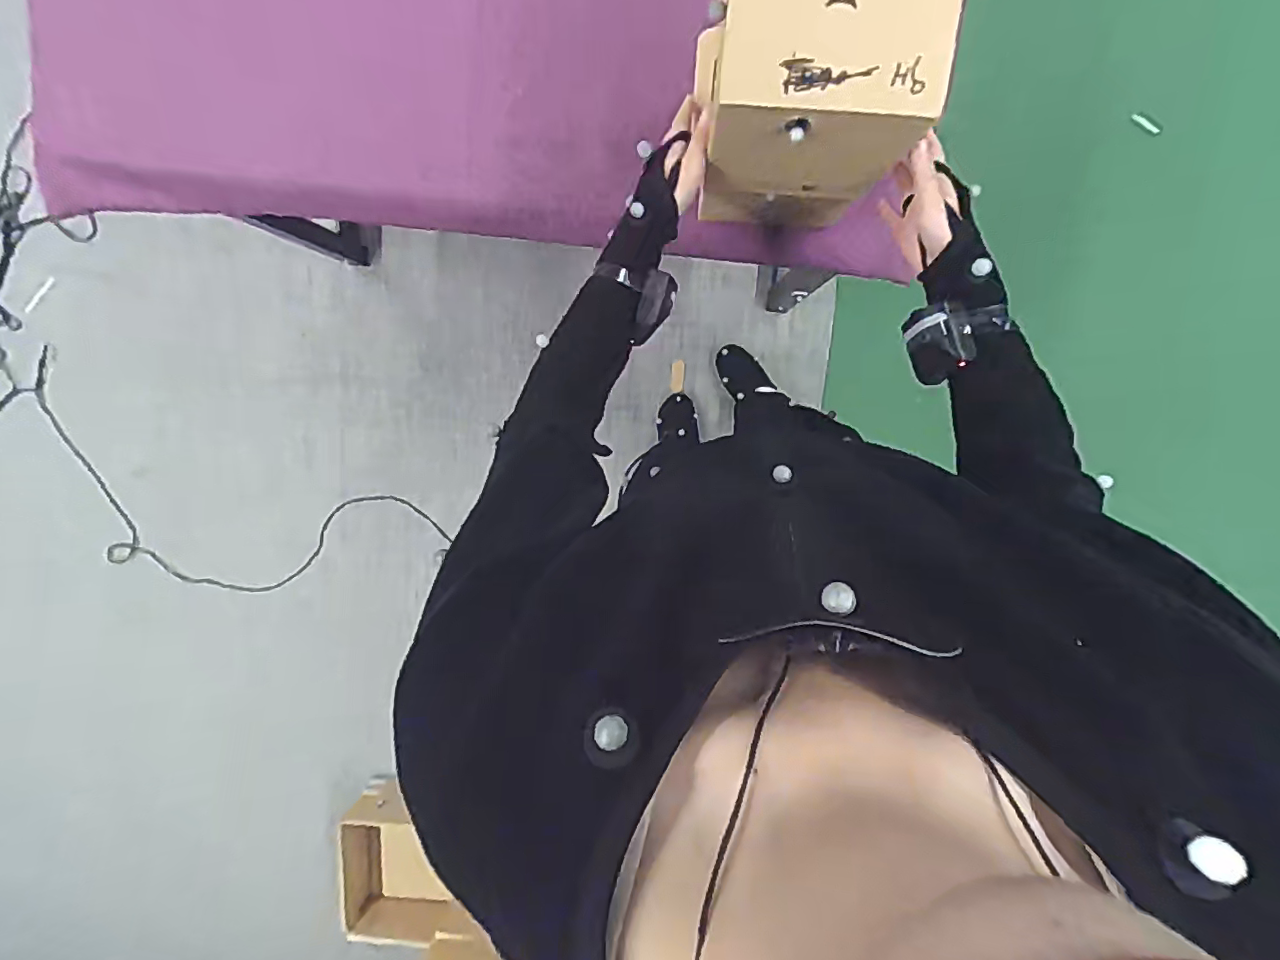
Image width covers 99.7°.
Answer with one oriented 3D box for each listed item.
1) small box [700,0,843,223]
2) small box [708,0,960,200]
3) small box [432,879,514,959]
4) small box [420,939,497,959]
[{"bbox_3d":[0.165,-0.411,0.625,0.179,0.176,0.168,5,99,2],"label":"small box"},{"bbox_3d":[0.152,-0.370,0.465,0.168,0.176,0.179,6,98,3],"label":"small box"},{"bbox_3d":[-0.439,1.204,1.431,0.168,0.176,0.179,4,97,4],"label":"small box"},{"bbox_3d":[-0.446,1.228,1.271,0.179,0.176,0.168,-3,96,4],"label":"small box"}]
